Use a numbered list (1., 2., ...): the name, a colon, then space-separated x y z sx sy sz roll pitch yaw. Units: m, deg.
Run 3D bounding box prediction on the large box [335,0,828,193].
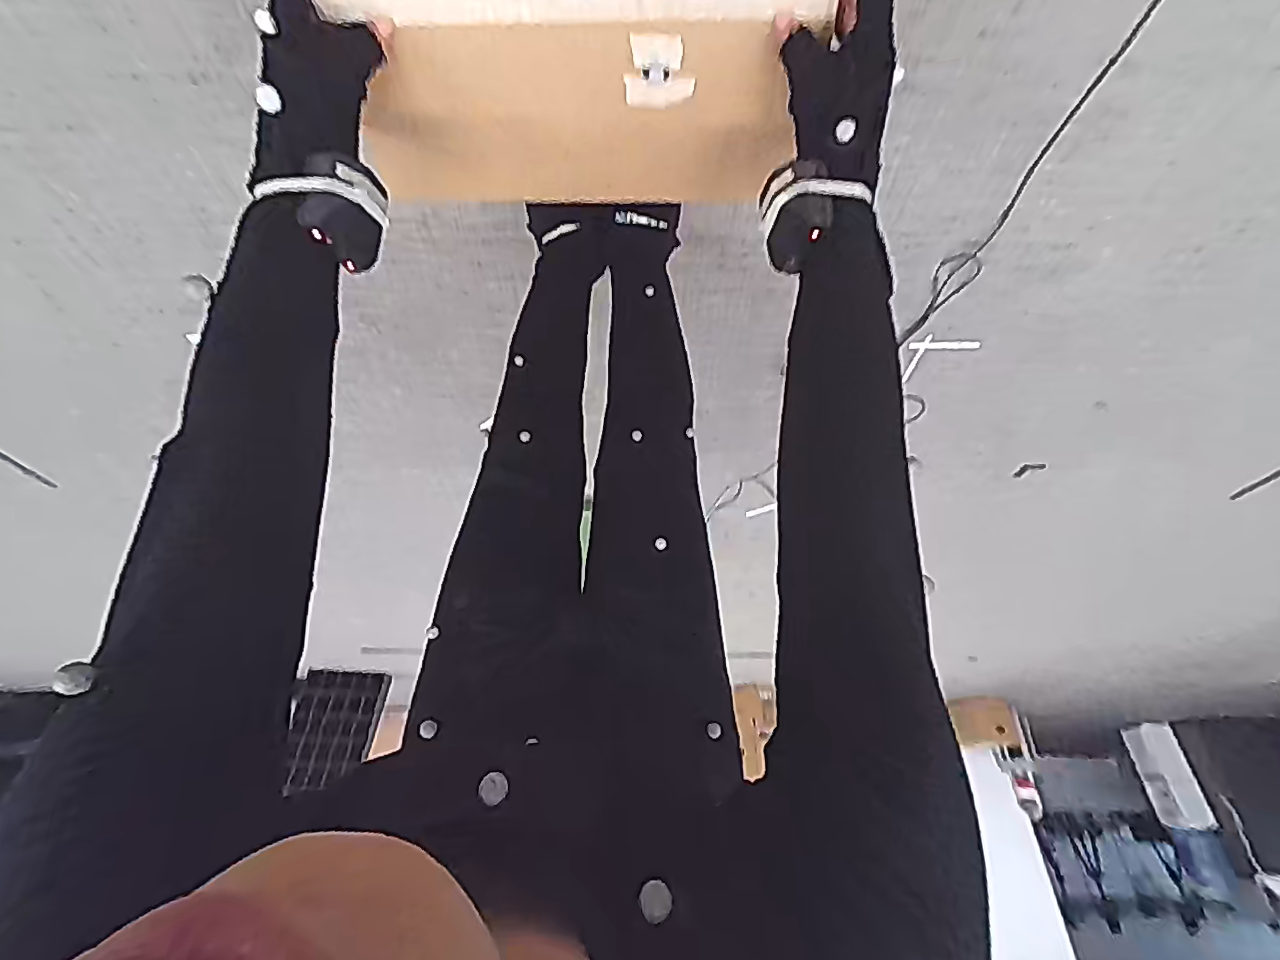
1. large box: -0.048 -0.508 0.513 0.408 0.320 0.320 0 146 1
